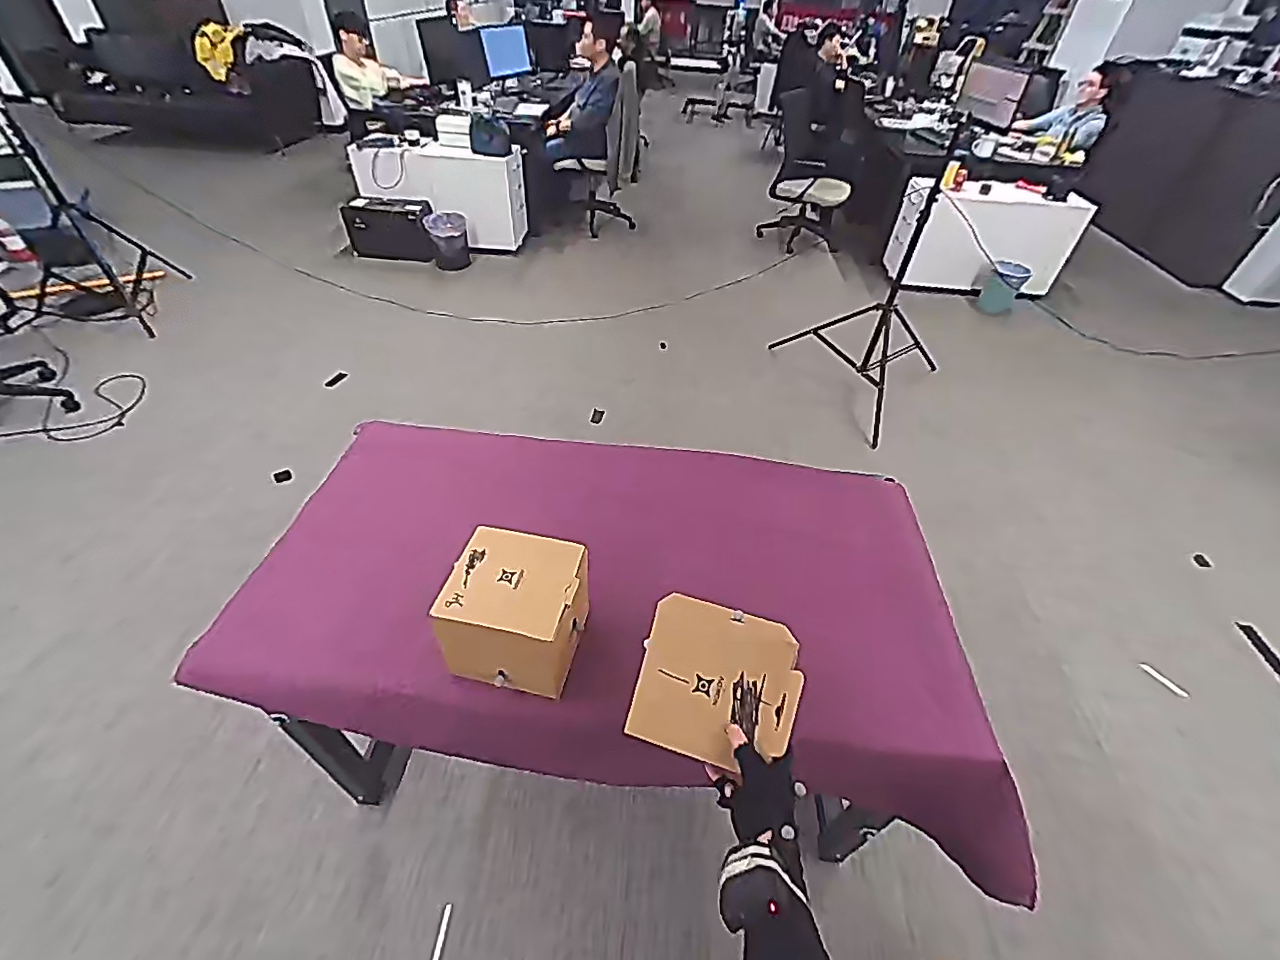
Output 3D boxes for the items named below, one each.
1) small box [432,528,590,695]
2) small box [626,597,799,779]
[{"bbox_3d":[-0.183,0.203,0.822,0.179,0.176,0.168,11,43,6],"label":"small box"},{"bbox_3d":[0.099,0.262,0.730,0.179,0.176,0.168,14,84,12],"label":"small box"}]
